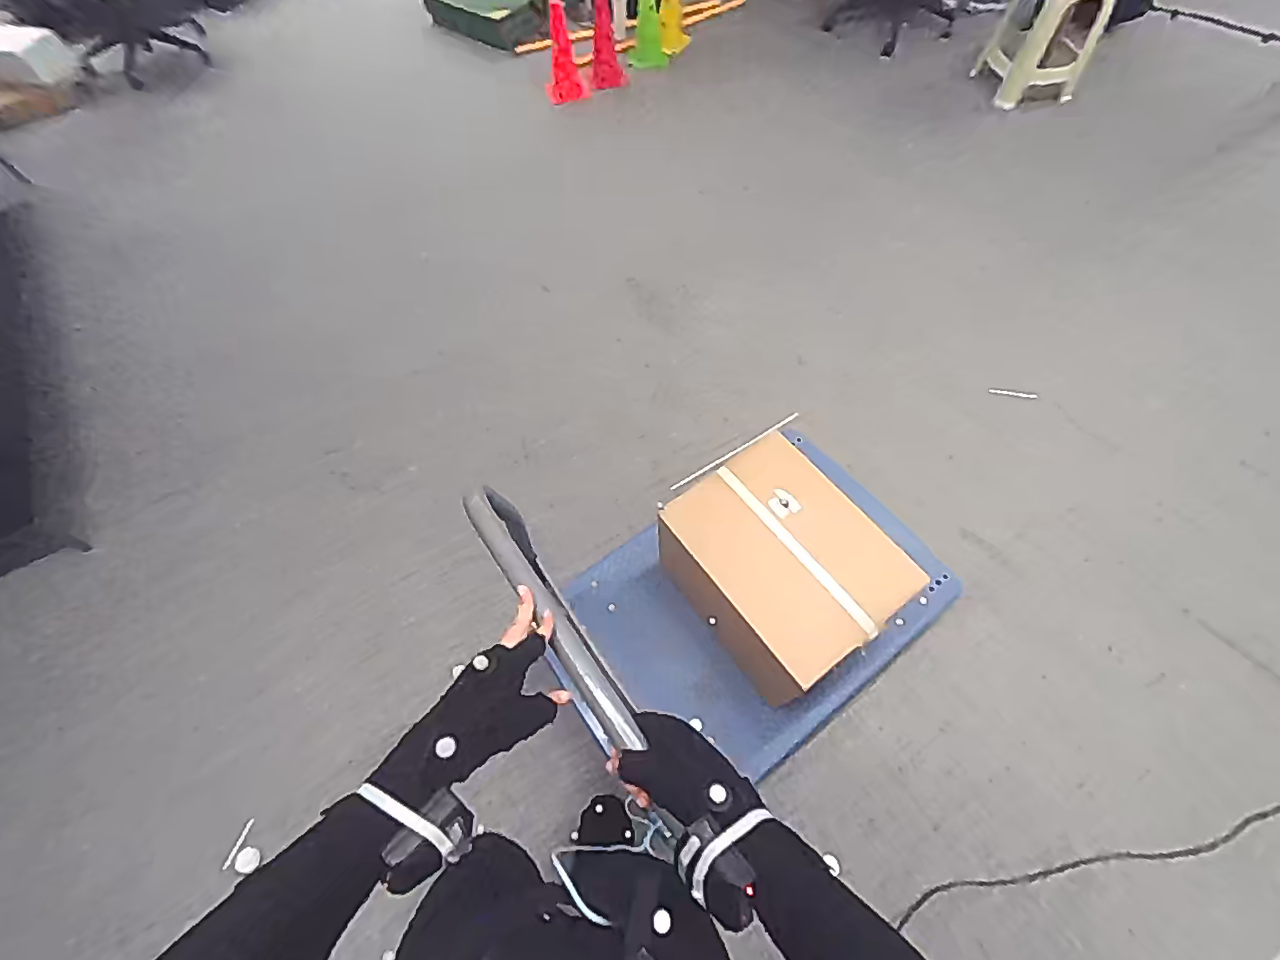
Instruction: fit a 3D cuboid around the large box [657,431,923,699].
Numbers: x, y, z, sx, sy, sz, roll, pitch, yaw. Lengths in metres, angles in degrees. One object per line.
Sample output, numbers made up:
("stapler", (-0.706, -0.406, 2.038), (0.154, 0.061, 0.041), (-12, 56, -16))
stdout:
("large box", (0.282, 0.184, 1.140), (0.320, 0.320, 0.408), (-33, 64, -15))
